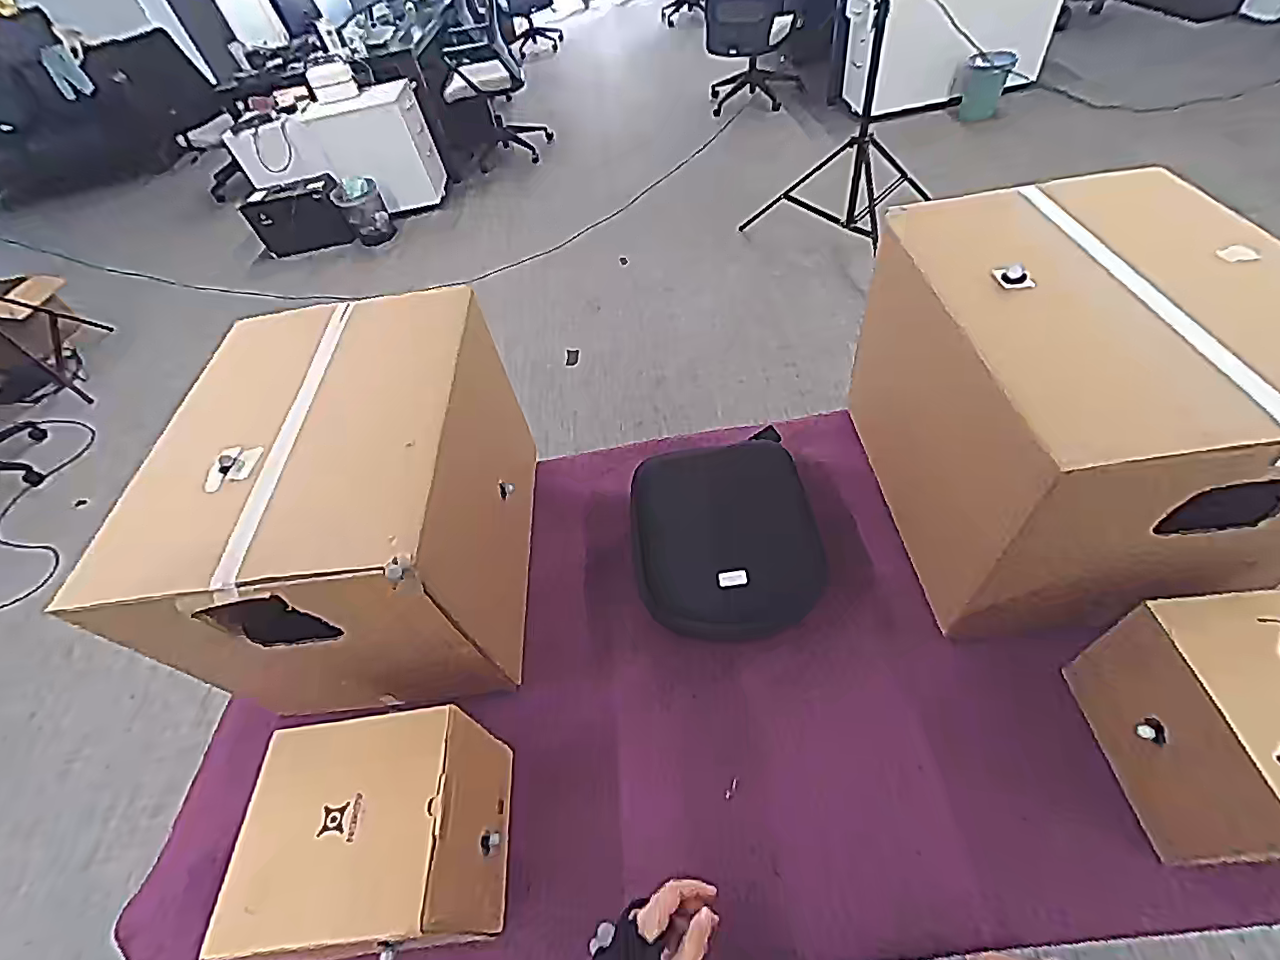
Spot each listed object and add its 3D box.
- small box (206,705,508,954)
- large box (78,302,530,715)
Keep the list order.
[{"bbox_3d":[-0.243,0.339,0.520,0.179,0.176,0.168,-10,49,2],"label":"small box"},{"bbox_3d":[-0.331,0.038,0.689,0.320,0.320,0.408,-9,53,3],"label":"large box"}]
